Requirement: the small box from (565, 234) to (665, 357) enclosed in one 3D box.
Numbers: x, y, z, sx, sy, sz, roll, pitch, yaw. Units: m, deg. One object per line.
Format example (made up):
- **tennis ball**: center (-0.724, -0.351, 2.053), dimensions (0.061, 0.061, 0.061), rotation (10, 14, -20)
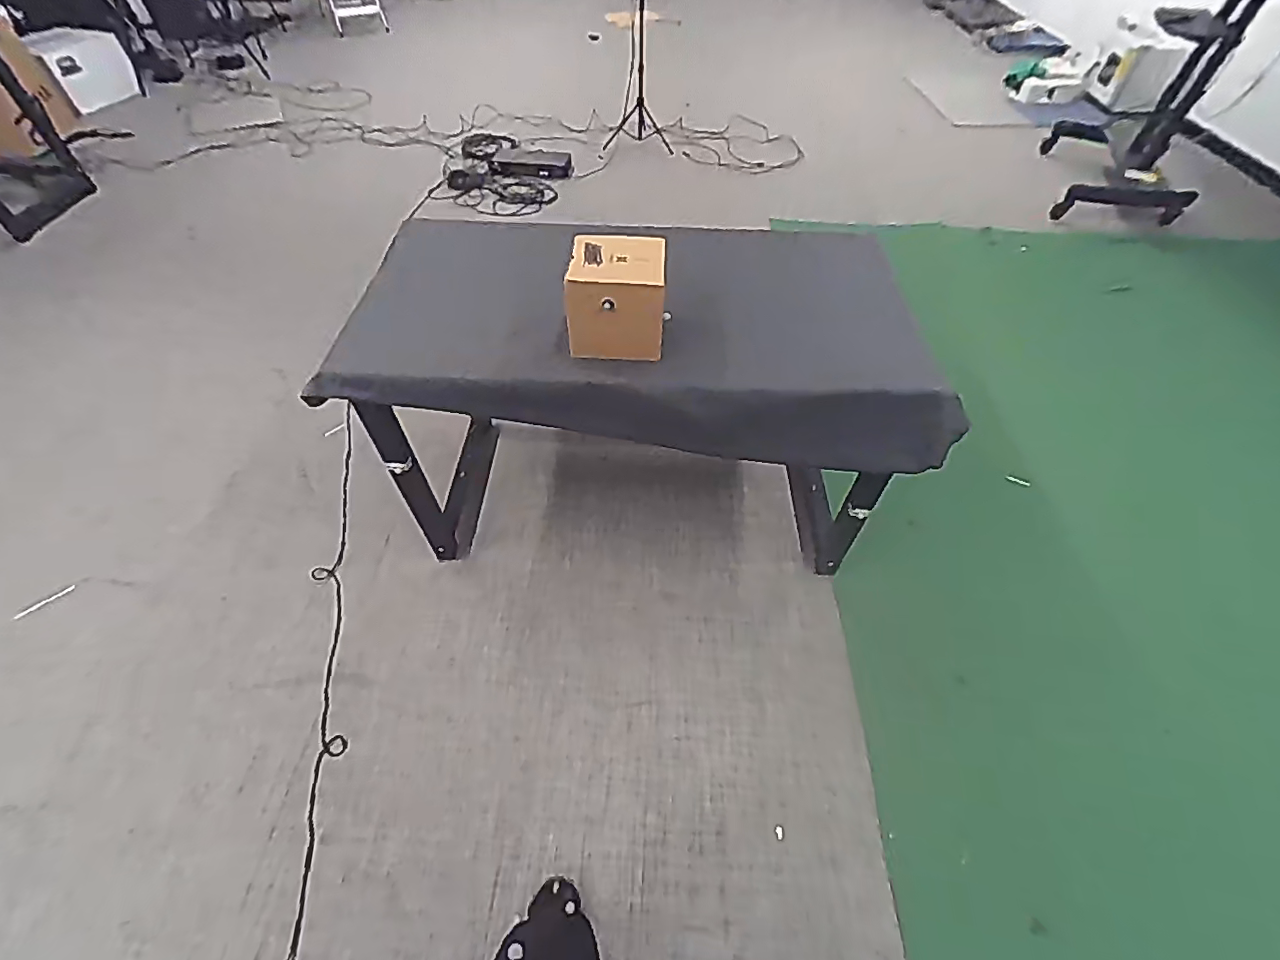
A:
- **small box**: center (-0.044, -0.358, 1.057), dimensions (0.179, 0.176, 0.168), rotation (3, 52, 0)
